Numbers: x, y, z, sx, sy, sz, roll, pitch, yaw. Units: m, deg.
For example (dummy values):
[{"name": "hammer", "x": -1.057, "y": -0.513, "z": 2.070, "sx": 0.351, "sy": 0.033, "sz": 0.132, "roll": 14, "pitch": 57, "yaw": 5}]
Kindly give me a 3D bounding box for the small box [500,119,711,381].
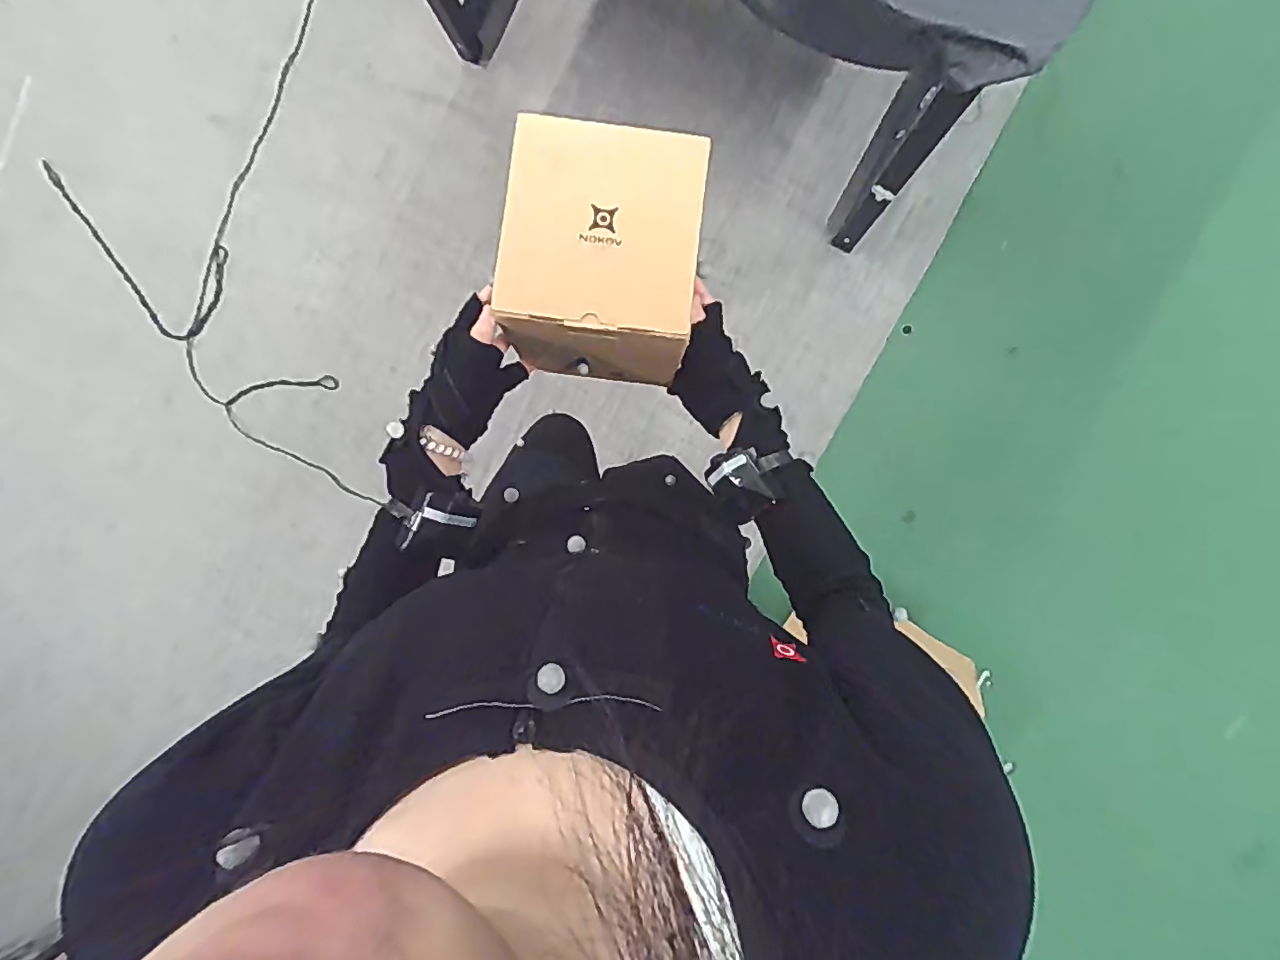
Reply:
[{"name": "small box", "x": -0.032, "y": -0.212, "z": 0.544, "sx": 0.168, "sy": 0.176, "sz": 0.179, "roll": 7, "pitch": 88, "yaw": -2}]
